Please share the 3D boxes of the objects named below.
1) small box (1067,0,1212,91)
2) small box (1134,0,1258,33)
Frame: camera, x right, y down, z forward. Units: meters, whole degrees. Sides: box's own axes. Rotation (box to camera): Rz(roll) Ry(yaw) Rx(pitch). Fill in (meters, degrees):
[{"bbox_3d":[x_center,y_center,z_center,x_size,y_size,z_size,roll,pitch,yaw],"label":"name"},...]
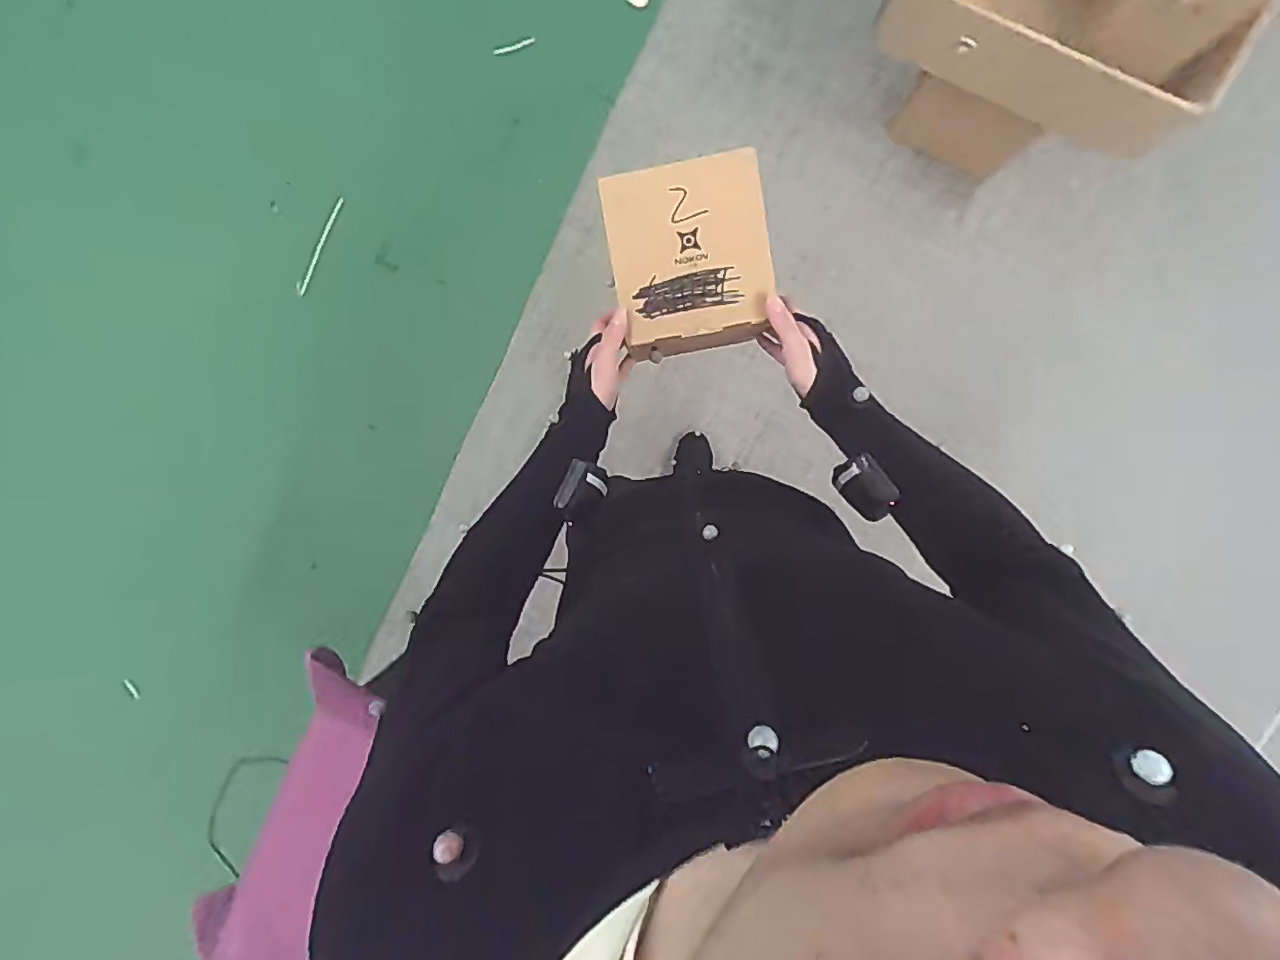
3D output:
[{"bbox_3d":[0.948,-0.877,0.998,0.168,0.176,0.179,26,95,1],"label":"small box"},{"bbox_3d":[0.935,-0.863,0.836,0.168,0.176,0.179,26,96,2],"label":"small box"}]
